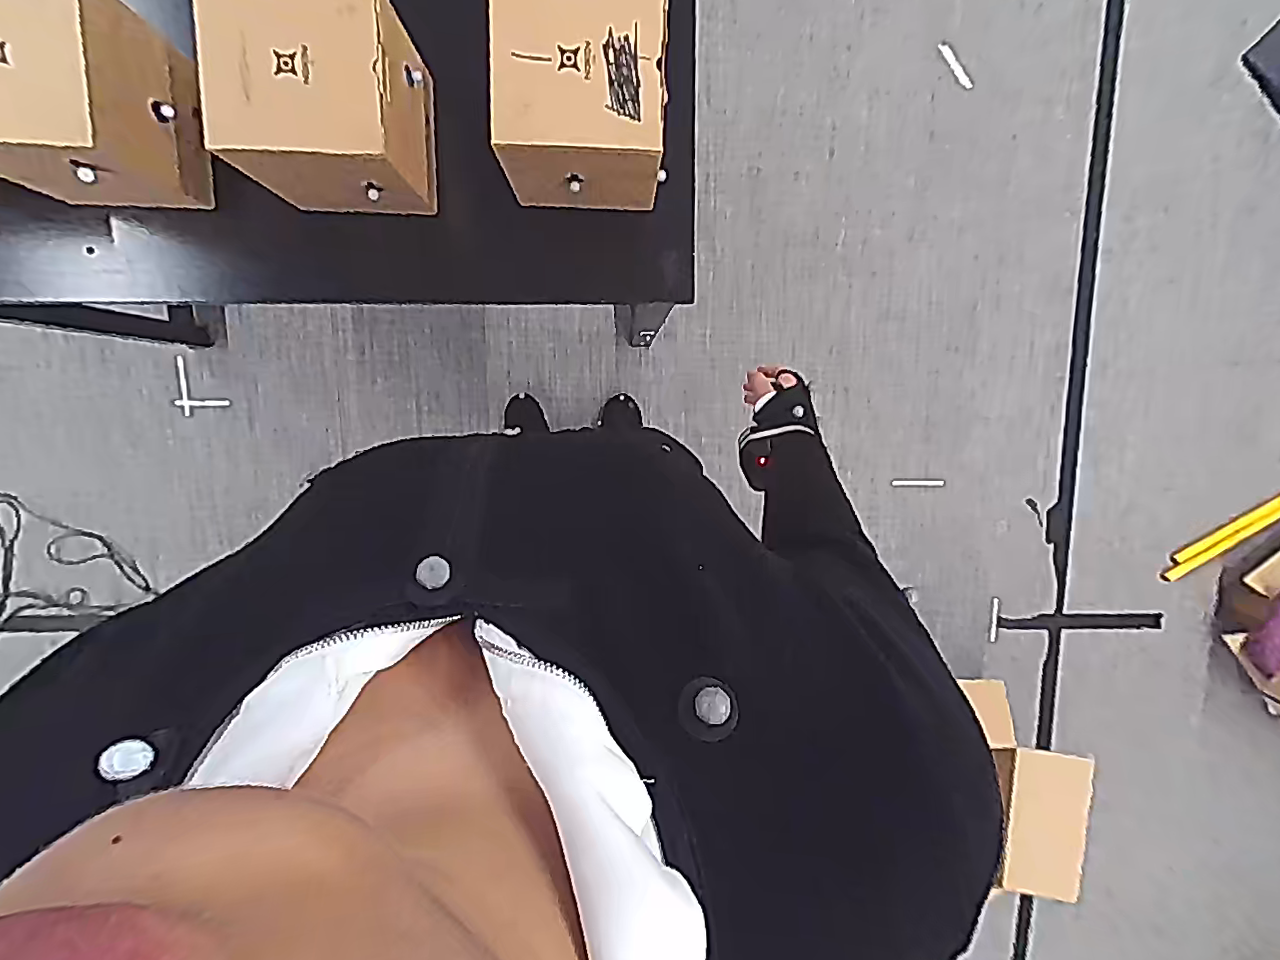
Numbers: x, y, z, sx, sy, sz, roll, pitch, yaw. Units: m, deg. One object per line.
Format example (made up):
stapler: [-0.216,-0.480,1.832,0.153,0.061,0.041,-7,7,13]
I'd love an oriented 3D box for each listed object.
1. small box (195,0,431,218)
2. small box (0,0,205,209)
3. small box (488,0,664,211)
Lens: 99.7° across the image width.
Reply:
small box: [-0.346,-0.412,0.611,0.179,0.176,0.168,-1,96,-3]
small box: [-0.619,-0.414,0.593,0.179,0.176,0.168,1,97,-3]
small box: [-0.068,-0.425,0.621,0.179,0.176,0.168,1,97,-2]
